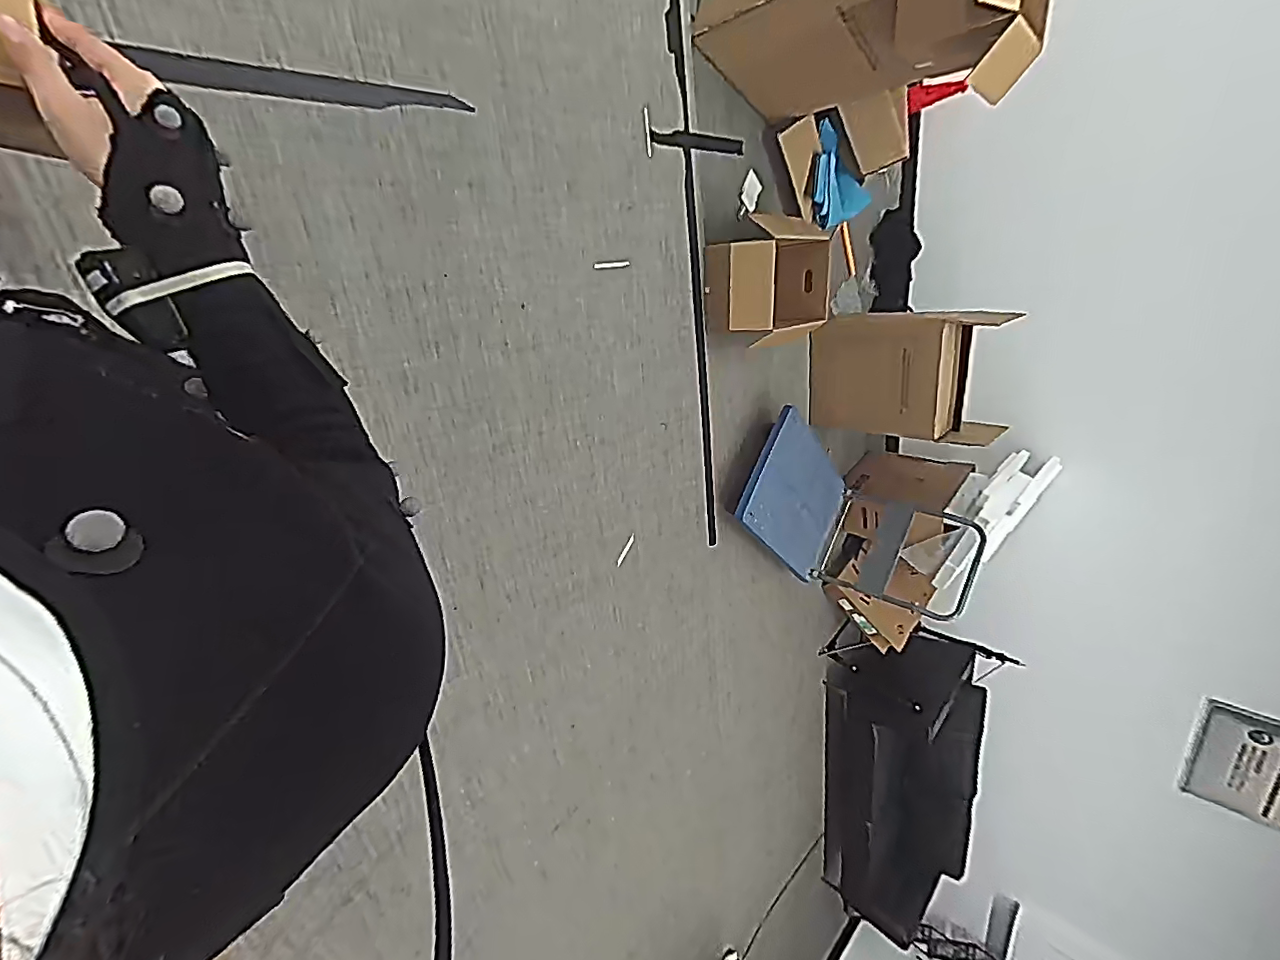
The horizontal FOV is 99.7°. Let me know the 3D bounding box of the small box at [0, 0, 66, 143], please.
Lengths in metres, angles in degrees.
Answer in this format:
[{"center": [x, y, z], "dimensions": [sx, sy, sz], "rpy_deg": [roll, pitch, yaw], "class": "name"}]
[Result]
[{"center": [-0.470, -0.320, 0.307], "dimensions": [0.179, 0.176, 0.168], "rpy_deg": [-8, 107, -43], "class": "small box"}]
